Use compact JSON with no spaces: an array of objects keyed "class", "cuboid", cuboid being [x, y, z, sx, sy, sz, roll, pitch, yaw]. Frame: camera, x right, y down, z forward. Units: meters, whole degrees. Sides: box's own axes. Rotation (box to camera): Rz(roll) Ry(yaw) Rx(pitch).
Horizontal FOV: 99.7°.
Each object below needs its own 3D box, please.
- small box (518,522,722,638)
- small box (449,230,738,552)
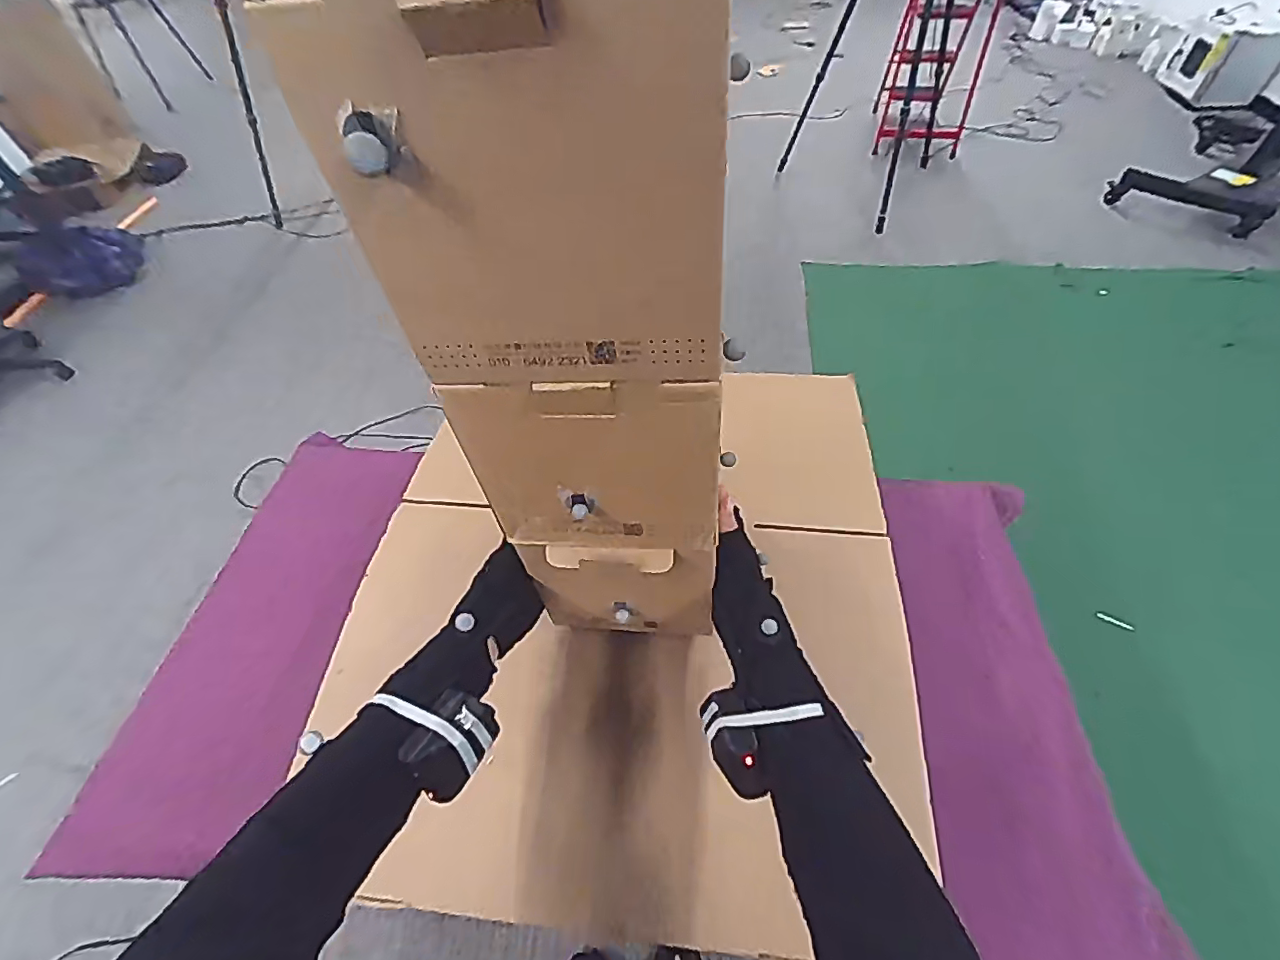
[{"class":"small box","cuboid":[-0.002,0.035,0.537,0.168,0.176,0.179,3,52,8]},{"class":"small box","cuboid":[-0.016,-0.066,0.410,0.168,0.176,0.179,1,52,7]}]
